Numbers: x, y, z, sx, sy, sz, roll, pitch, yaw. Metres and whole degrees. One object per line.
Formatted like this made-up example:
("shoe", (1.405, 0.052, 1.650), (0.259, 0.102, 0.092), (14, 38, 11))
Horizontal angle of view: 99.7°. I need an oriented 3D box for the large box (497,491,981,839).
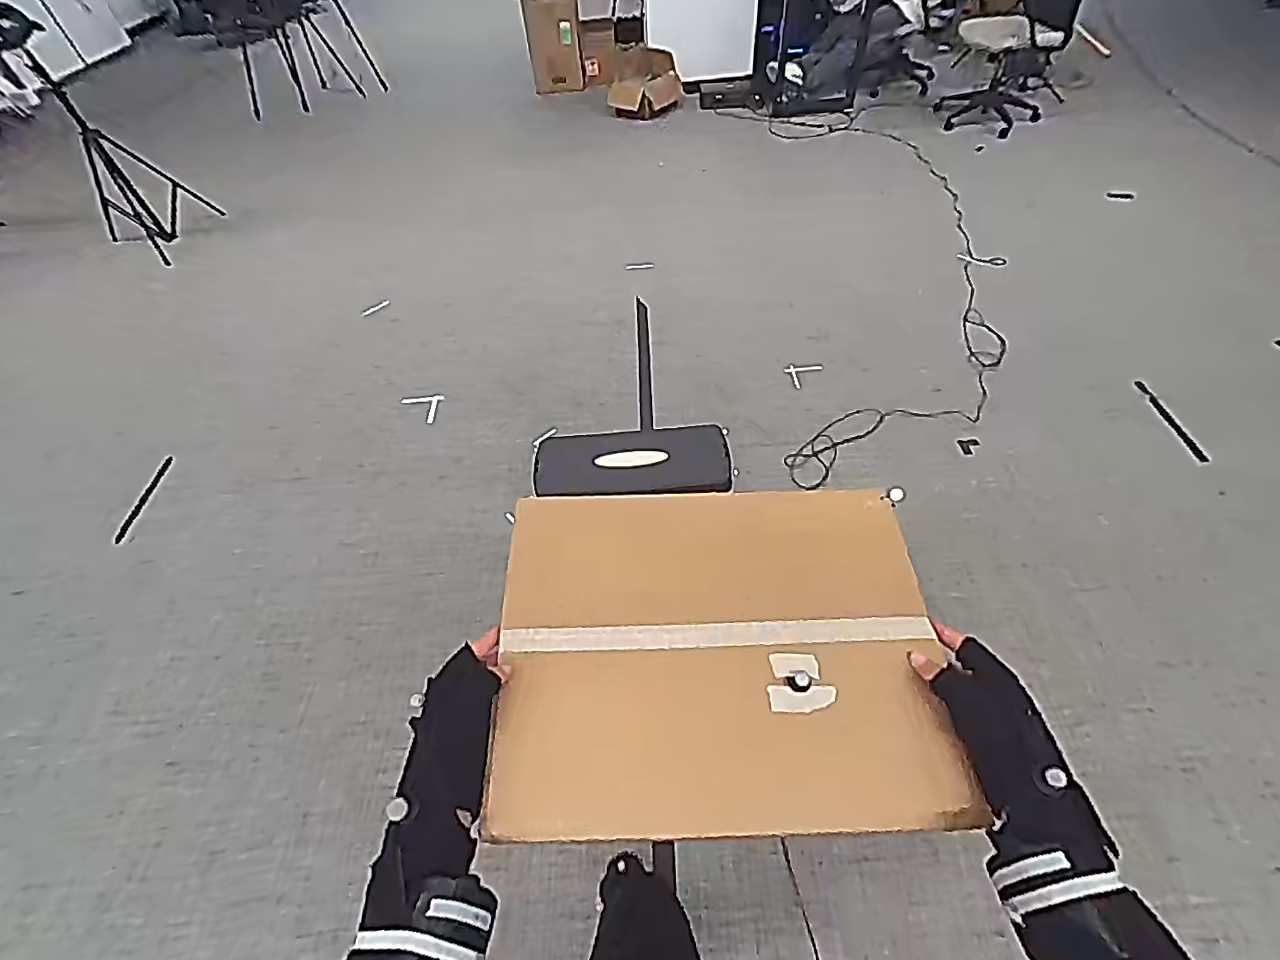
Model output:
("large box", (0.074, 0.229, 0.639), (0.408, 0.320, 0.320), (-1, 57, -1))
